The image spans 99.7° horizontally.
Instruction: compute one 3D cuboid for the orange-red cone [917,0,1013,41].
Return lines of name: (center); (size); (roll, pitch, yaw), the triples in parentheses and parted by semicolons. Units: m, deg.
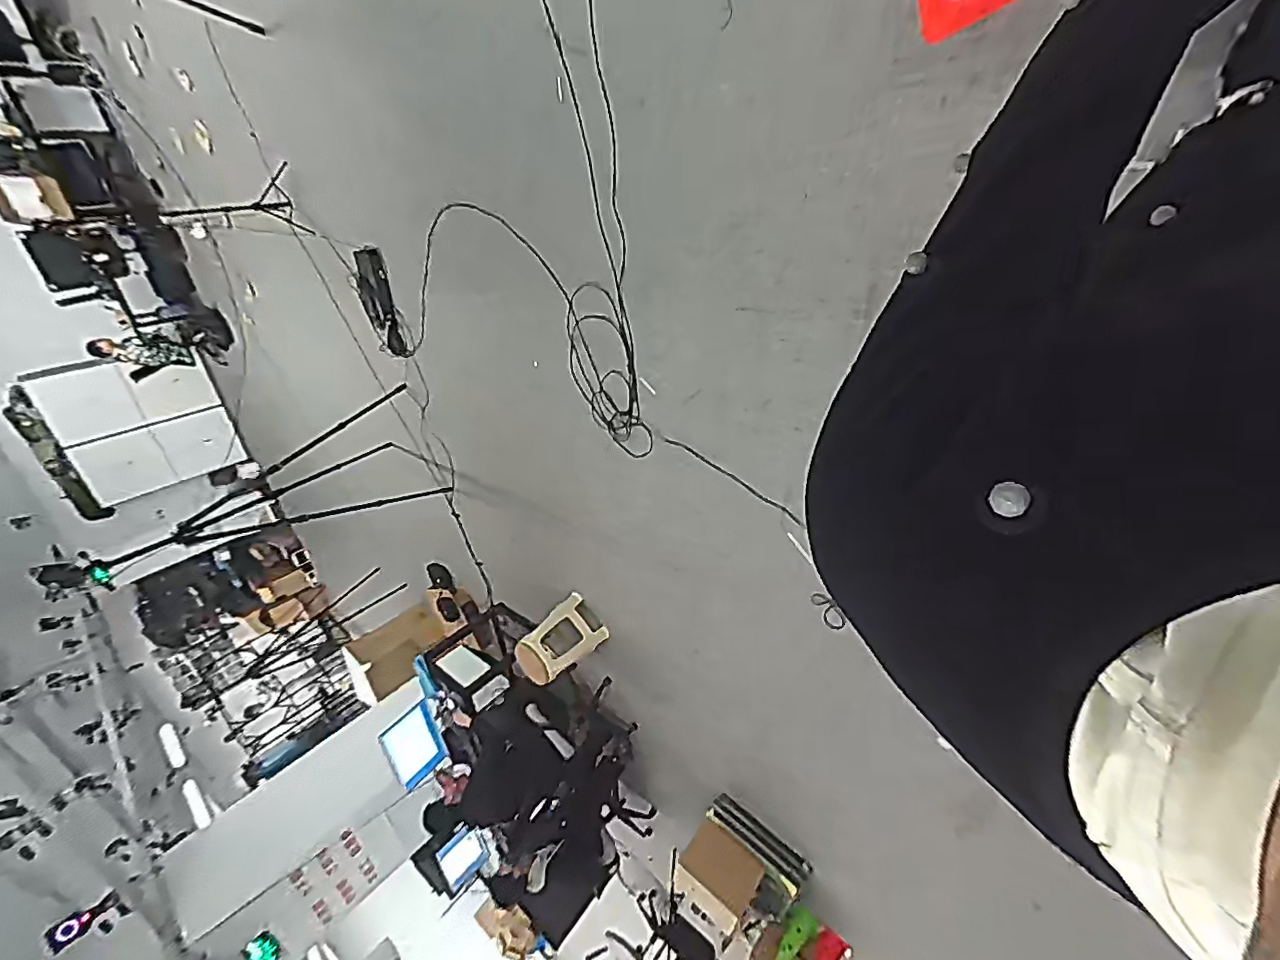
orange-red cone: (0.566, -0.996, 1.015); (0.199, 0.360, 0.198); (3, 116, 46)
